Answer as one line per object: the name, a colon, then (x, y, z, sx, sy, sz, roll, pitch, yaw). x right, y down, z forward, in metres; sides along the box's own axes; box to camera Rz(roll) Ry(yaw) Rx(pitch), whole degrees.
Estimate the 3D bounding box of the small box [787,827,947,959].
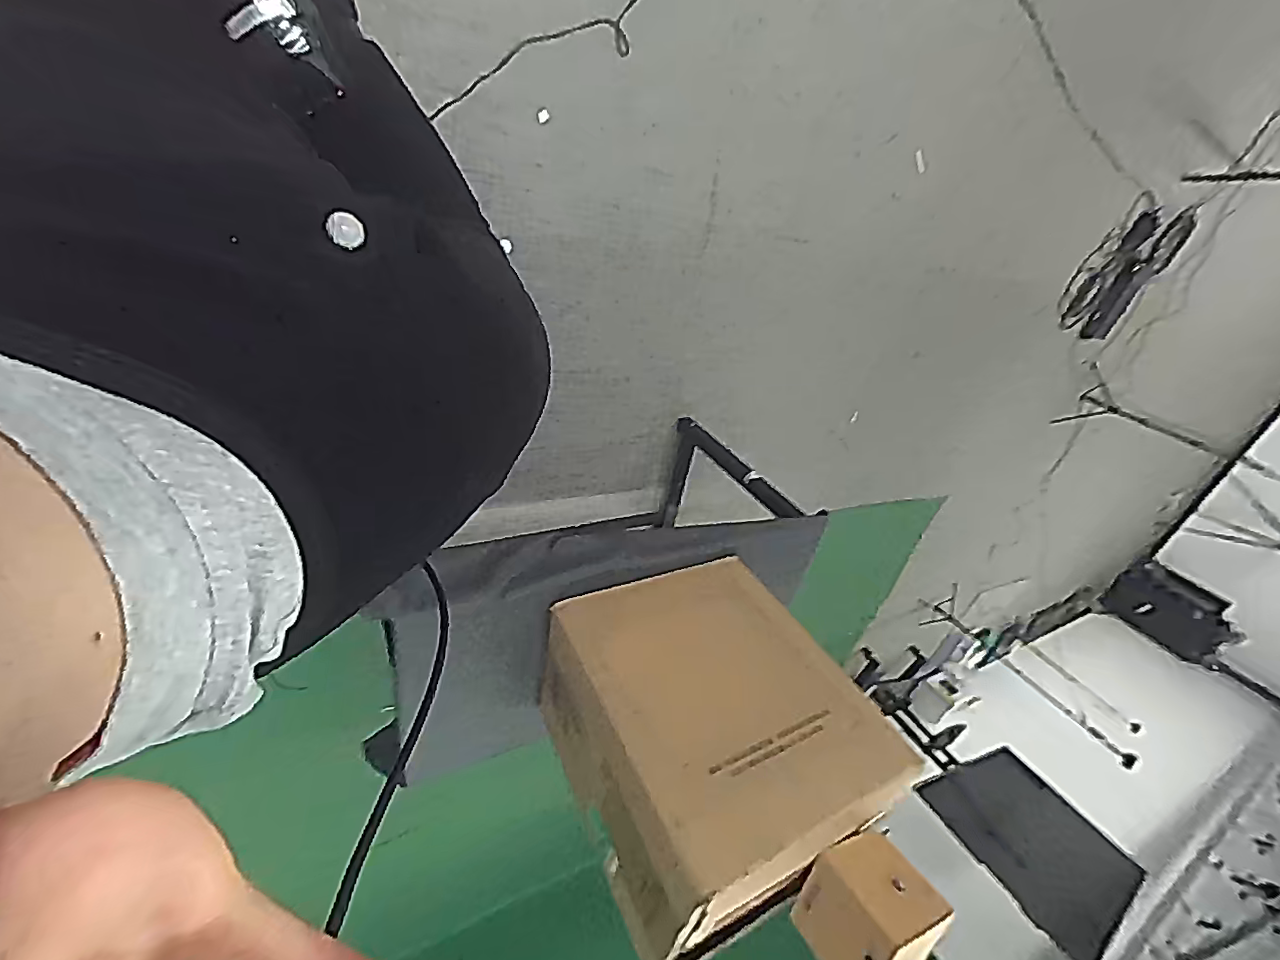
small box: (0.403, 0.772, 0.977, 0.179, 0.176, 0.168, 6, 109, -35)
